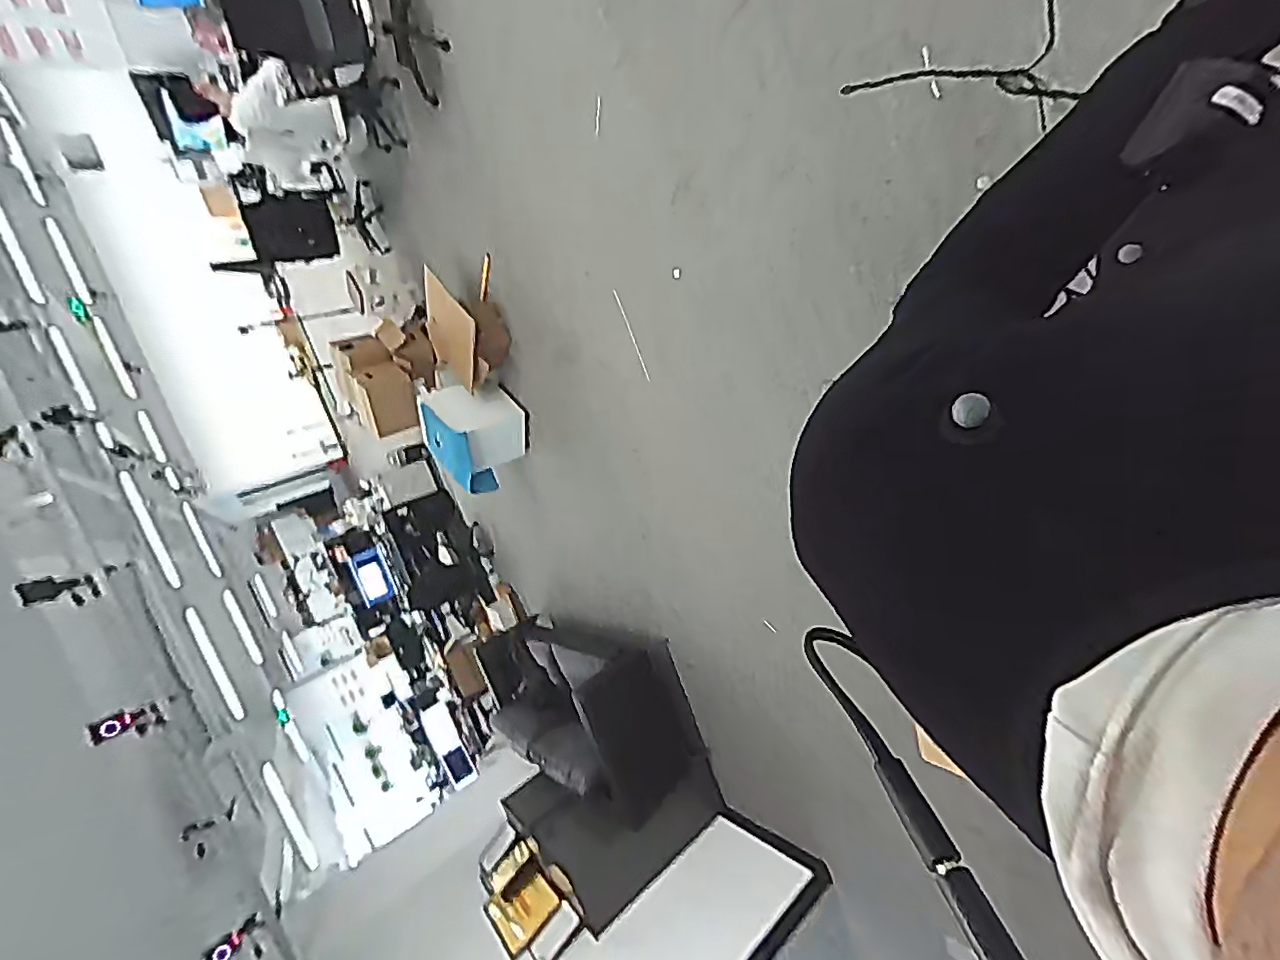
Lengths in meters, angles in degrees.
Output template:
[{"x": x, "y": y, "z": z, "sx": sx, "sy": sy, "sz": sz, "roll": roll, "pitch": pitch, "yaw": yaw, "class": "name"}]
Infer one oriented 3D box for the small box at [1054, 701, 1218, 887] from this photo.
[{"x": 0.841, "y": 0.516, "z": 0.916, "sx": 0.168, "sy": 0.176, "sz": 0.179, "roll": -4, "pitch": 107, "yaw": 55, "class": "small box"}]
